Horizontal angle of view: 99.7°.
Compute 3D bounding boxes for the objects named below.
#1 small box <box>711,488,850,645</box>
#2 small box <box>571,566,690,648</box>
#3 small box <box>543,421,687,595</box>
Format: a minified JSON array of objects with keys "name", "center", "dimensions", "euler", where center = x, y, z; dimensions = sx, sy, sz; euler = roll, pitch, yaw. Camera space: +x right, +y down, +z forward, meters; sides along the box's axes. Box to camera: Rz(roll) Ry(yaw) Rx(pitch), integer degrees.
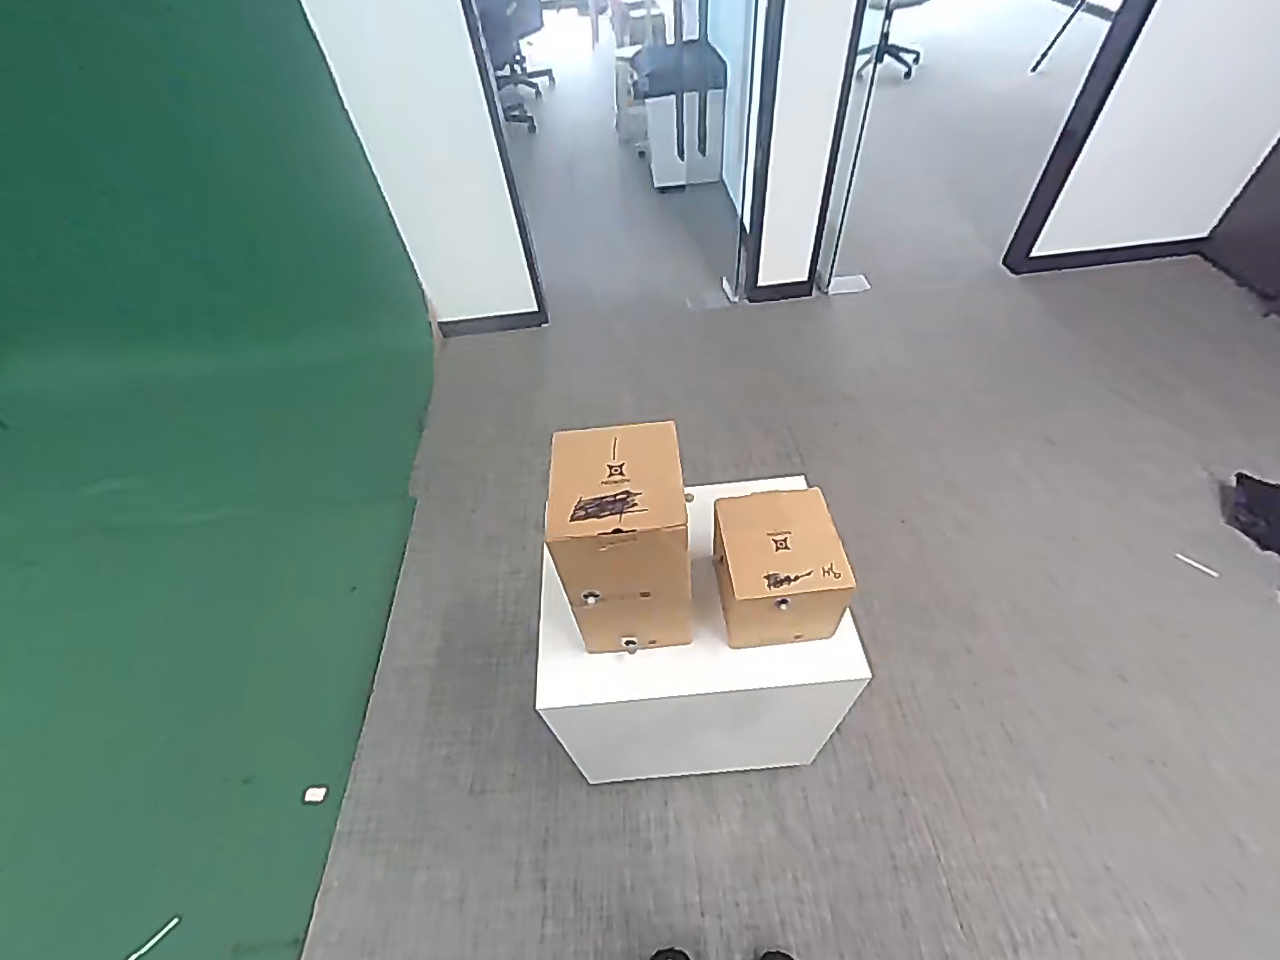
[{"name":"small box","center":[0.205,0.137,0.847],"dimensions":[0.168,0.176,0.179],"euler":[-6,49,1]},{"name":"small box","center":[-0.015,0.141,0.848],"dimensions":[0.168,0.176,0.179],"euler":[-8,51,0]},{"name":"small box","center":[-0.026,0.046,0.735],"dimensions":[0.168,0.176,0.179],"euler":[-5,48,2]}]
